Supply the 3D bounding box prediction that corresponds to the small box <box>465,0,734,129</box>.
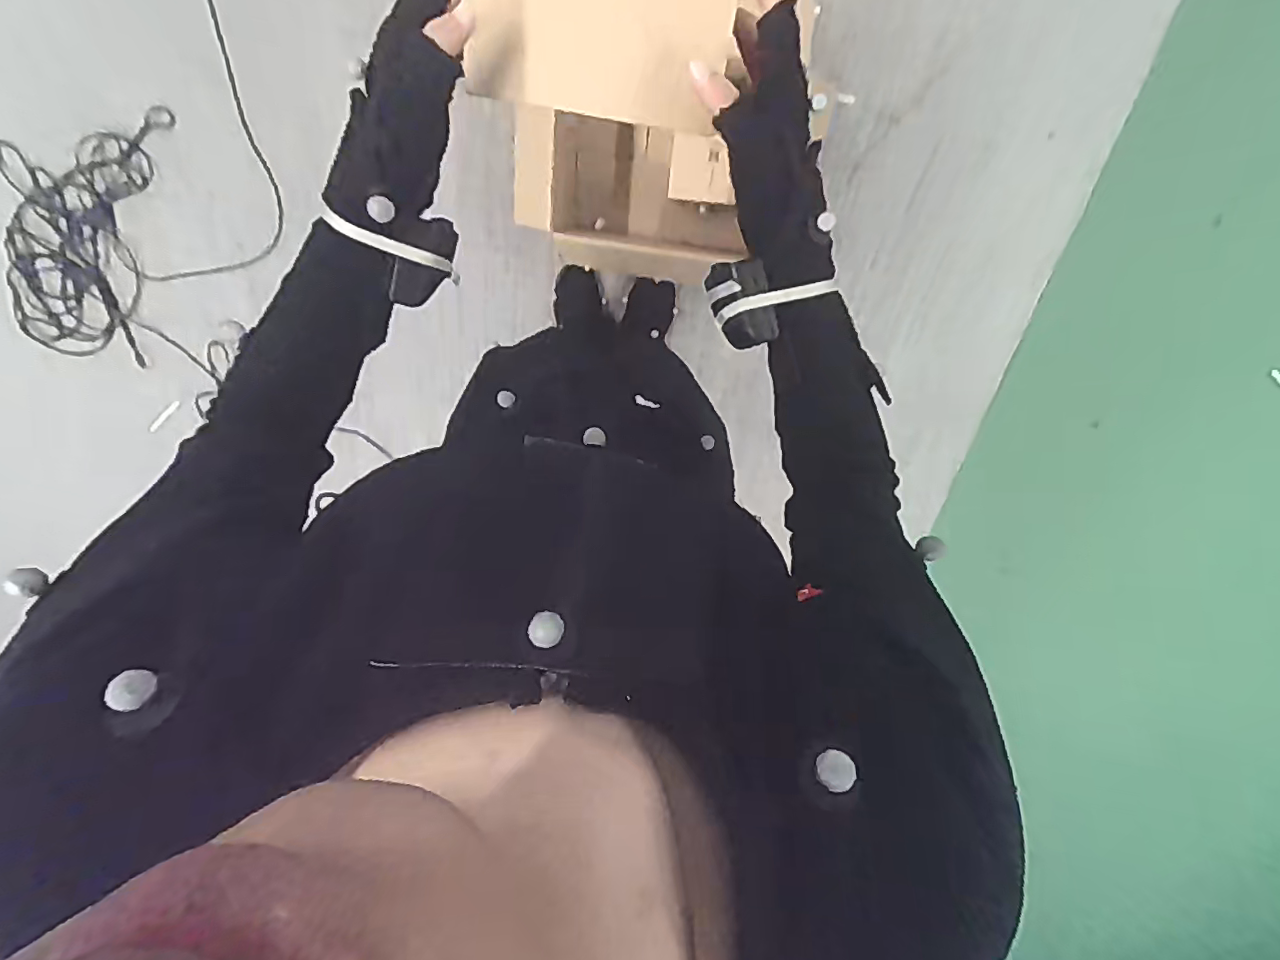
[{"bbox_3d":[-0.019,-0.363,0.370,0.168,0.176,0.179,6,128,-4],"label":"small box"}]
